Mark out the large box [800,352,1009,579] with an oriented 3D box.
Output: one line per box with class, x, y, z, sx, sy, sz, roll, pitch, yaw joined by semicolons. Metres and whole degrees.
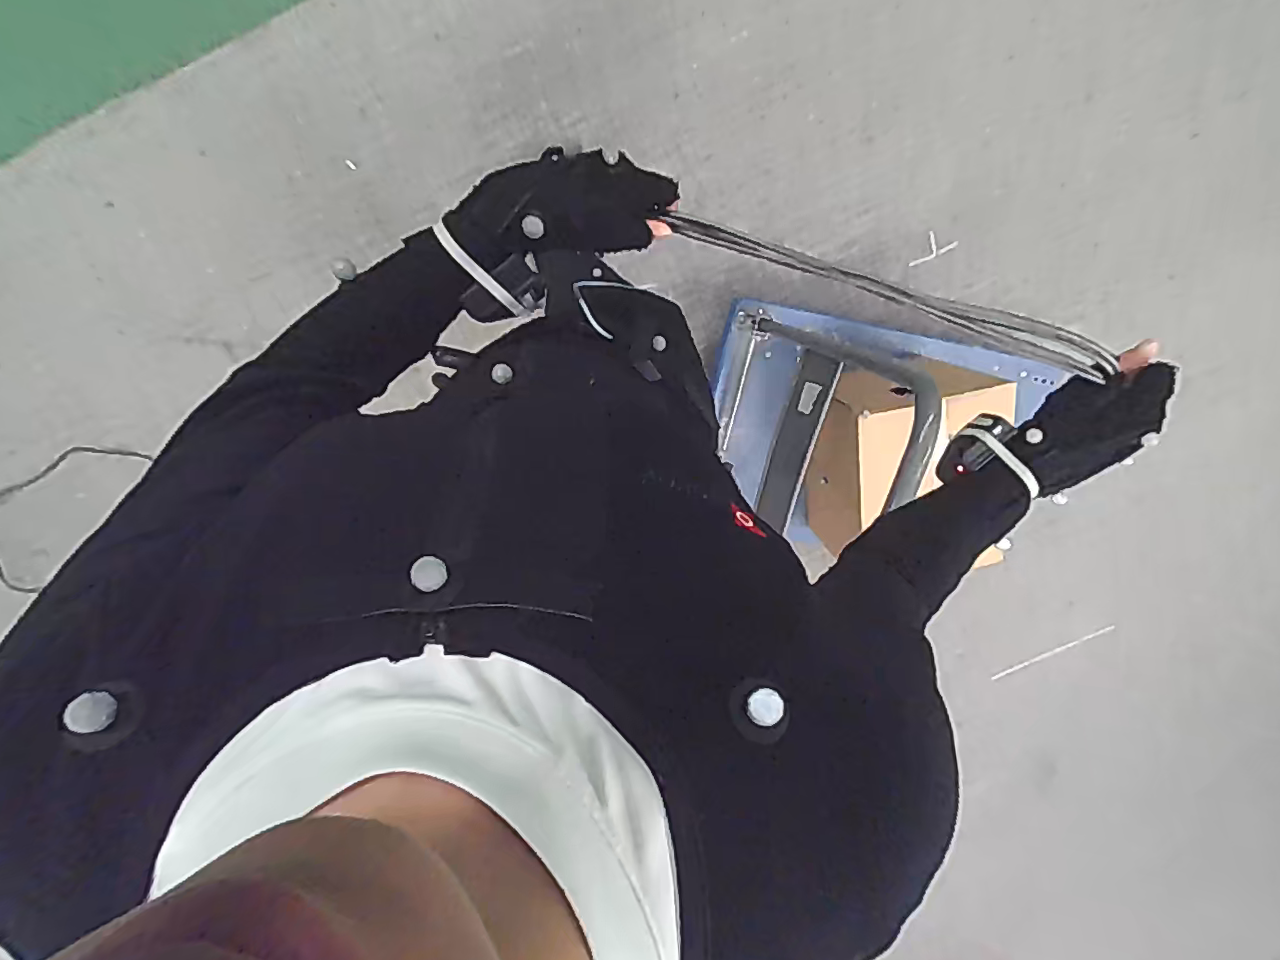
large box;0.580;-0.046;1.239;0.320;0.320;0.408;-12;112;-2
